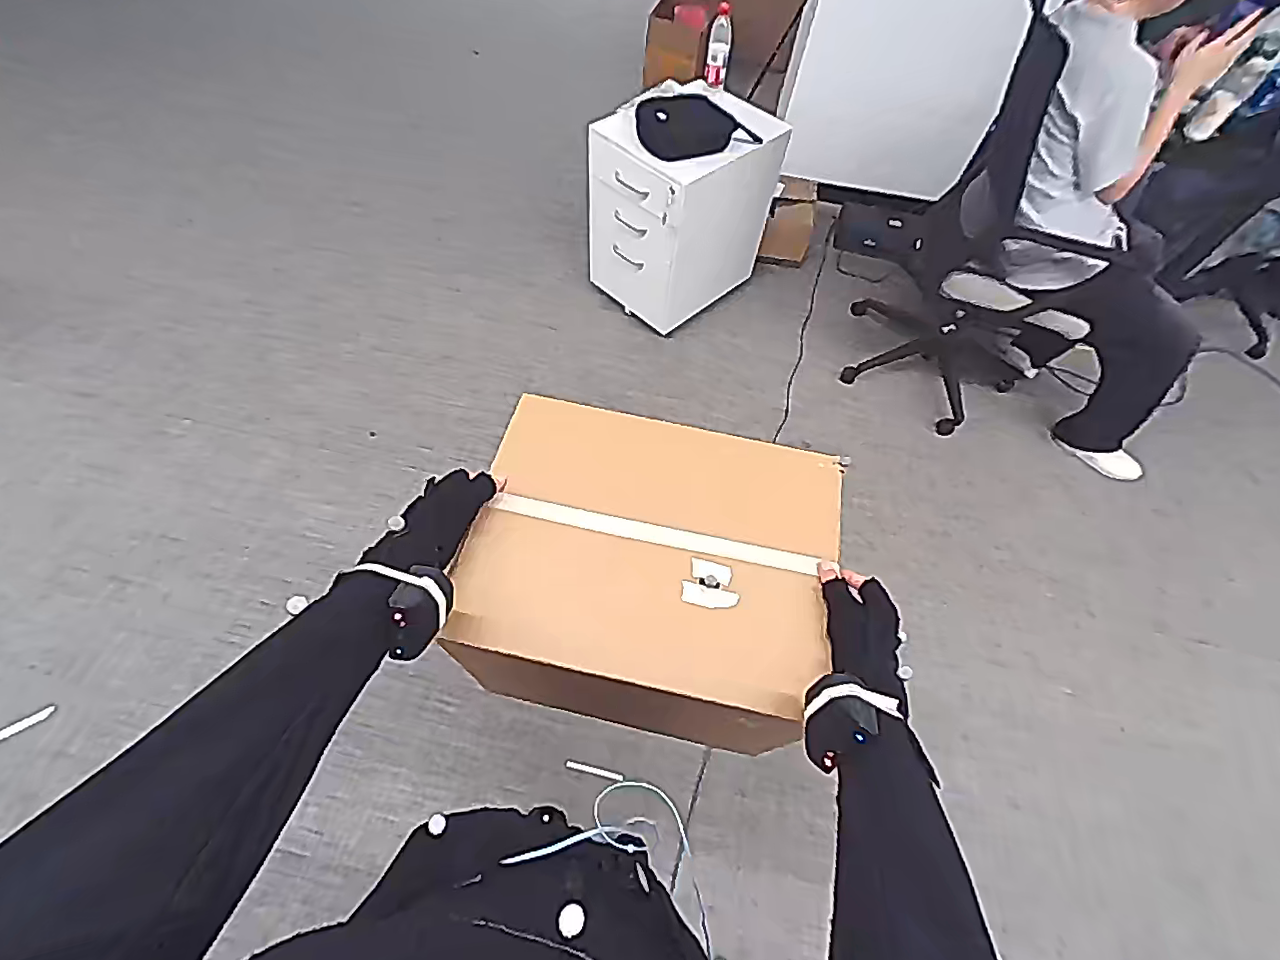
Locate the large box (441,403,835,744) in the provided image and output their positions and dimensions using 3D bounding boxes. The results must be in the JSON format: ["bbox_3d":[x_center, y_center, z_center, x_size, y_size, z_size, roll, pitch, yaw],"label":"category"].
[{"bbox_3d":[0.010,0.140,0.736,0.408,0.320,0.320,12,60,3],"label":"large box"}]
